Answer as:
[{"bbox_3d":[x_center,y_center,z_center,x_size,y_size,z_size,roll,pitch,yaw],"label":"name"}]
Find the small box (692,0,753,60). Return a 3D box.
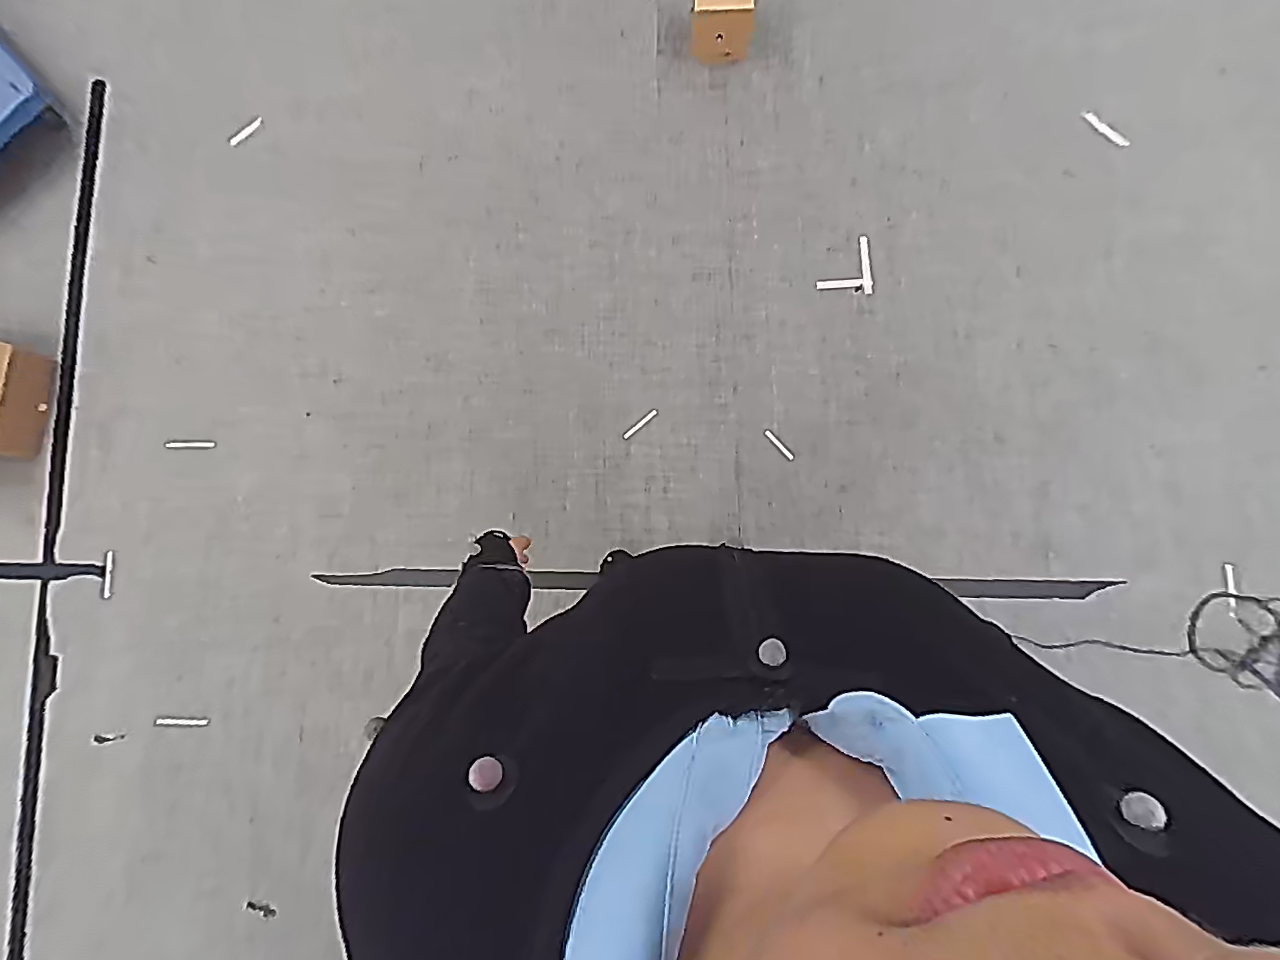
[{"bbox_3d":[0.241,-1.372,1.579,0.168,0.176,0.179,2,84,3],"label":"small box"}]
